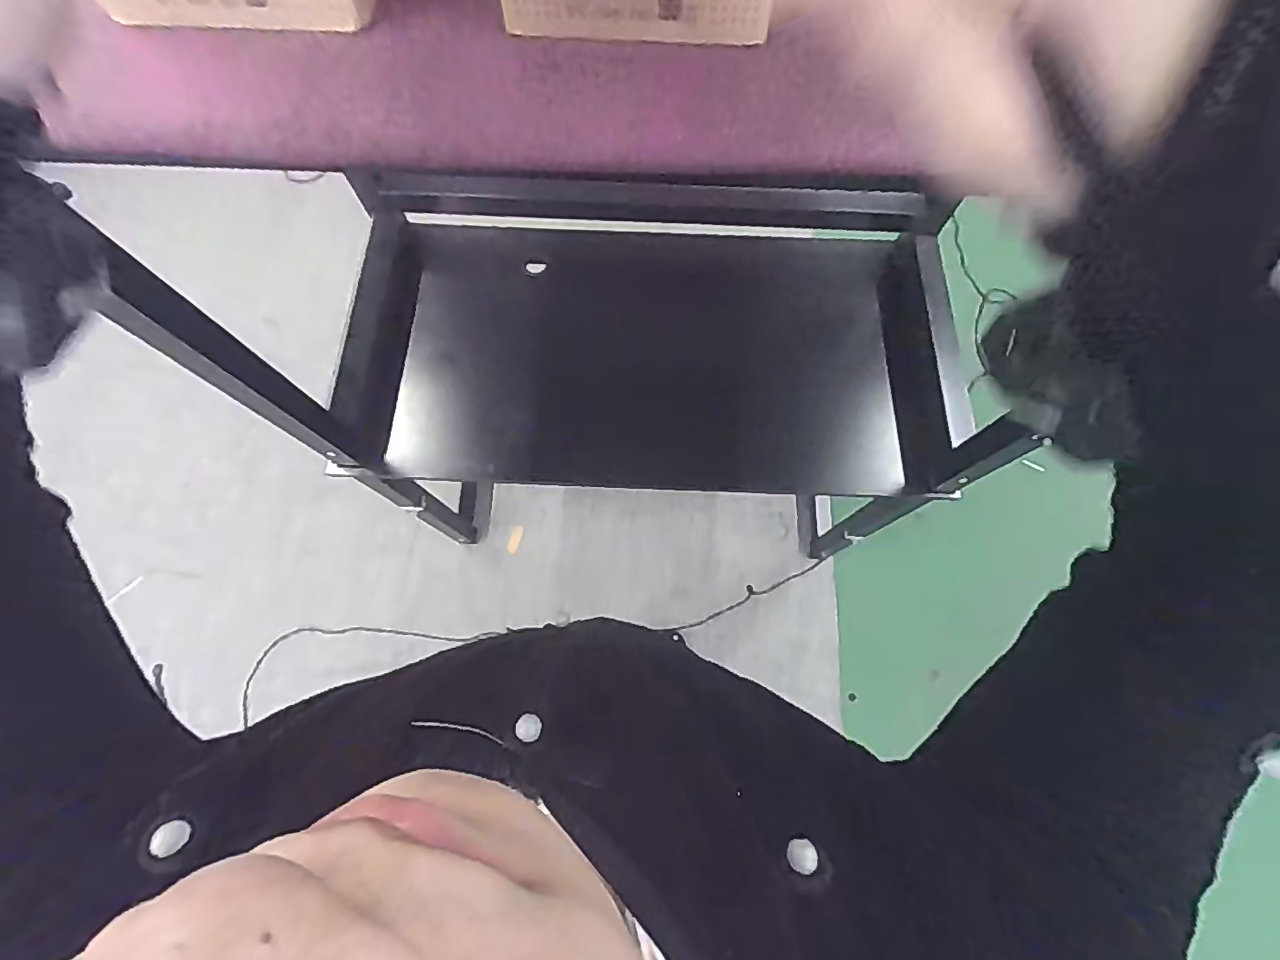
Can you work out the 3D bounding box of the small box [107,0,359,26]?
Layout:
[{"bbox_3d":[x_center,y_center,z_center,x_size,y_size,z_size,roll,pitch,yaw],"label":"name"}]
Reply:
[{"bbox_3d":[-0.254,-0.395,0.291,0.168,0.176,0.179,2,70,1],"label":"small box"}]
